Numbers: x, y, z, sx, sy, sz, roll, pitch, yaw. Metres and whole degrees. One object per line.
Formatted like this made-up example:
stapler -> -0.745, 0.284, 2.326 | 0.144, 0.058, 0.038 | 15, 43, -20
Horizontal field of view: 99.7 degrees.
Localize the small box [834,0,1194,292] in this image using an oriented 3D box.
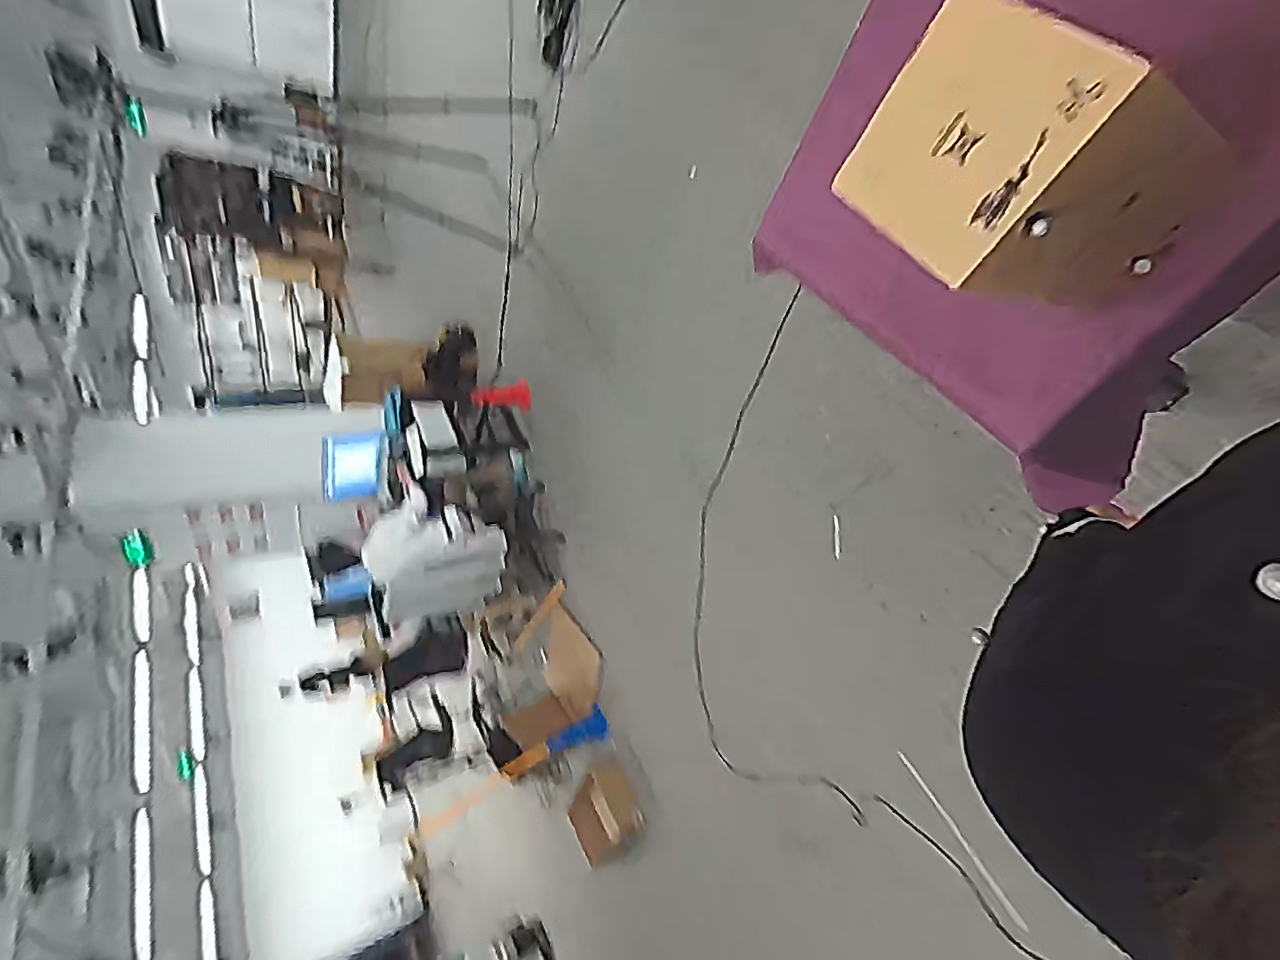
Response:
small box -> 0.325, -0.288, 0.491 | 0.179, 0.176, 0.168 | 61, 142, 29
